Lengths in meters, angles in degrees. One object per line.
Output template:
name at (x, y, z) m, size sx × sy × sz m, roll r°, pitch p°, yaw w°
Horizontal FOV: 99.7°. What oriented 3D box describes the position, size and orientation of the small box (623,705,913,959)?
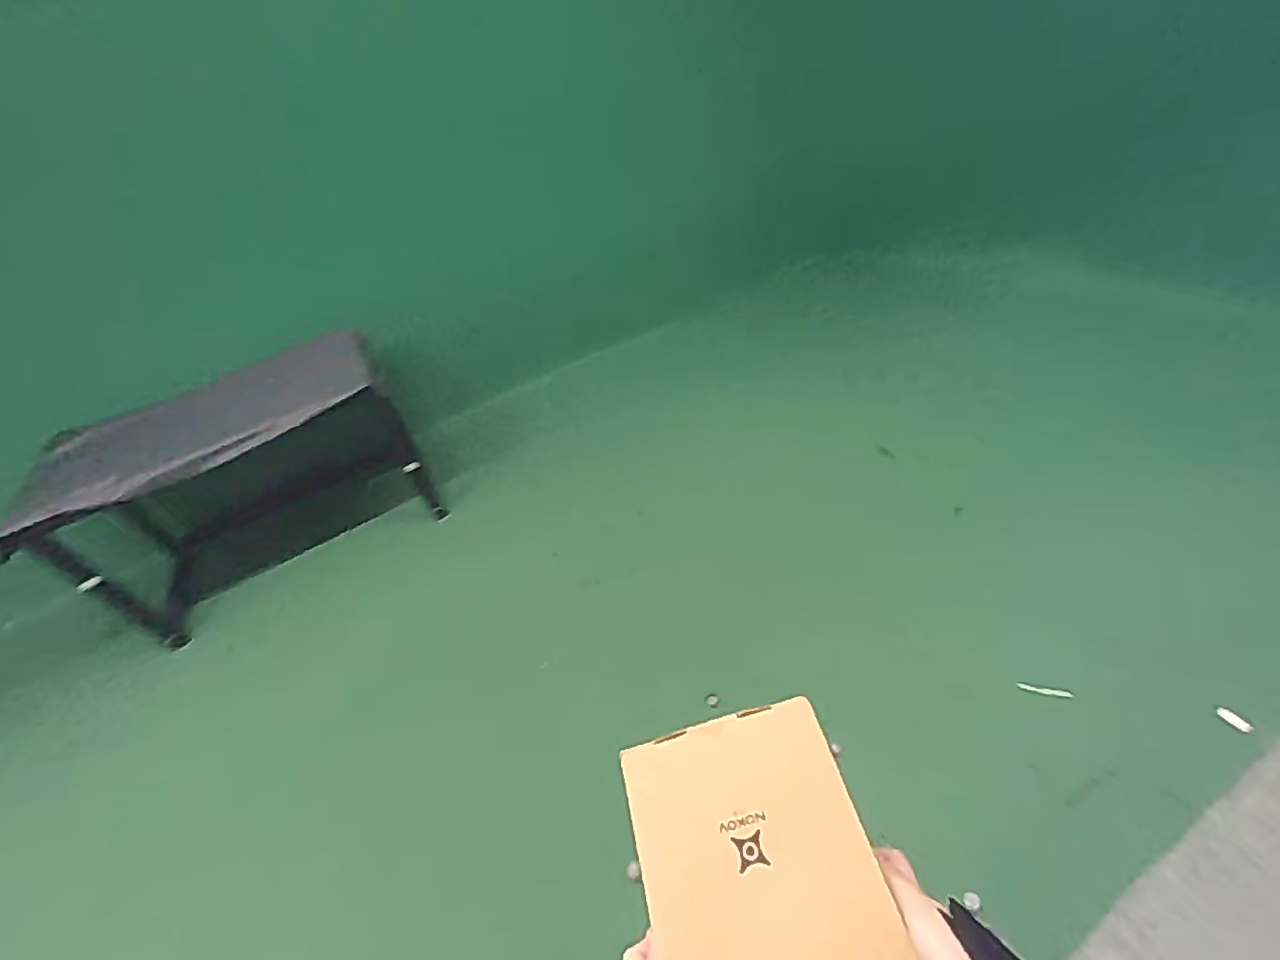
small box at (0.097, 0.319, 0.449) m, size 0.168 × 0.176 × 0.179 m, roll -17°, pitch 48°, yaw 1°
